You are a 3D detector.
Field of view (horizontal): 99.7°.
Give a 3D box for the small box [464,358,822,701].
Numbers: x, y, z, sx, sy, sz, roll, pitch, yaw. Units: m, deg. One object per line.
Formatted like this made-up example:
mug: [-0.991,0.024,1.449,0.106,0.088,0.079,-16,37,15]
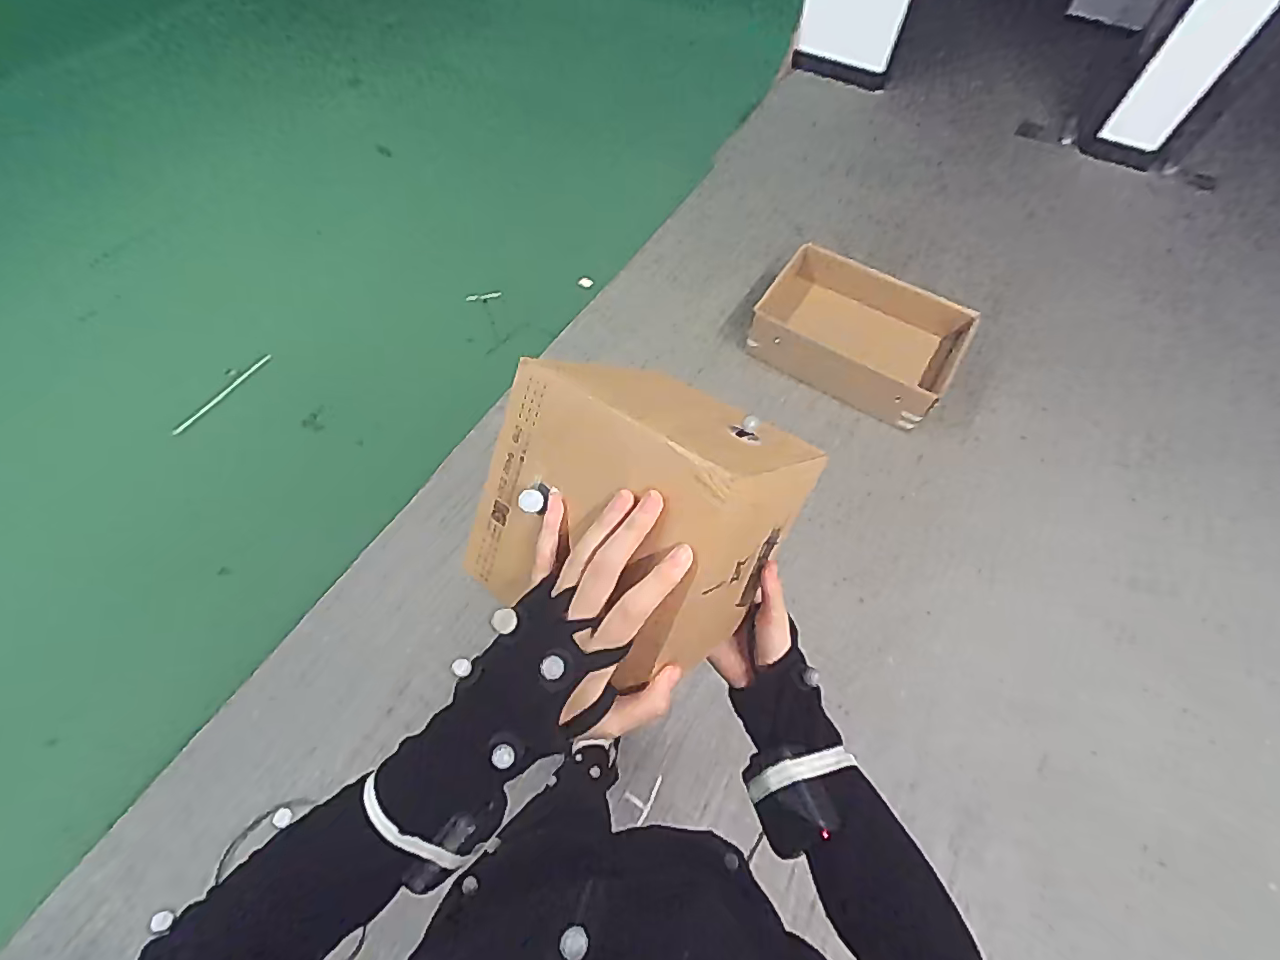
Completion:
small box: [0.002,0.019,0.408,0.176,0.168,0.179,32,23,28]
